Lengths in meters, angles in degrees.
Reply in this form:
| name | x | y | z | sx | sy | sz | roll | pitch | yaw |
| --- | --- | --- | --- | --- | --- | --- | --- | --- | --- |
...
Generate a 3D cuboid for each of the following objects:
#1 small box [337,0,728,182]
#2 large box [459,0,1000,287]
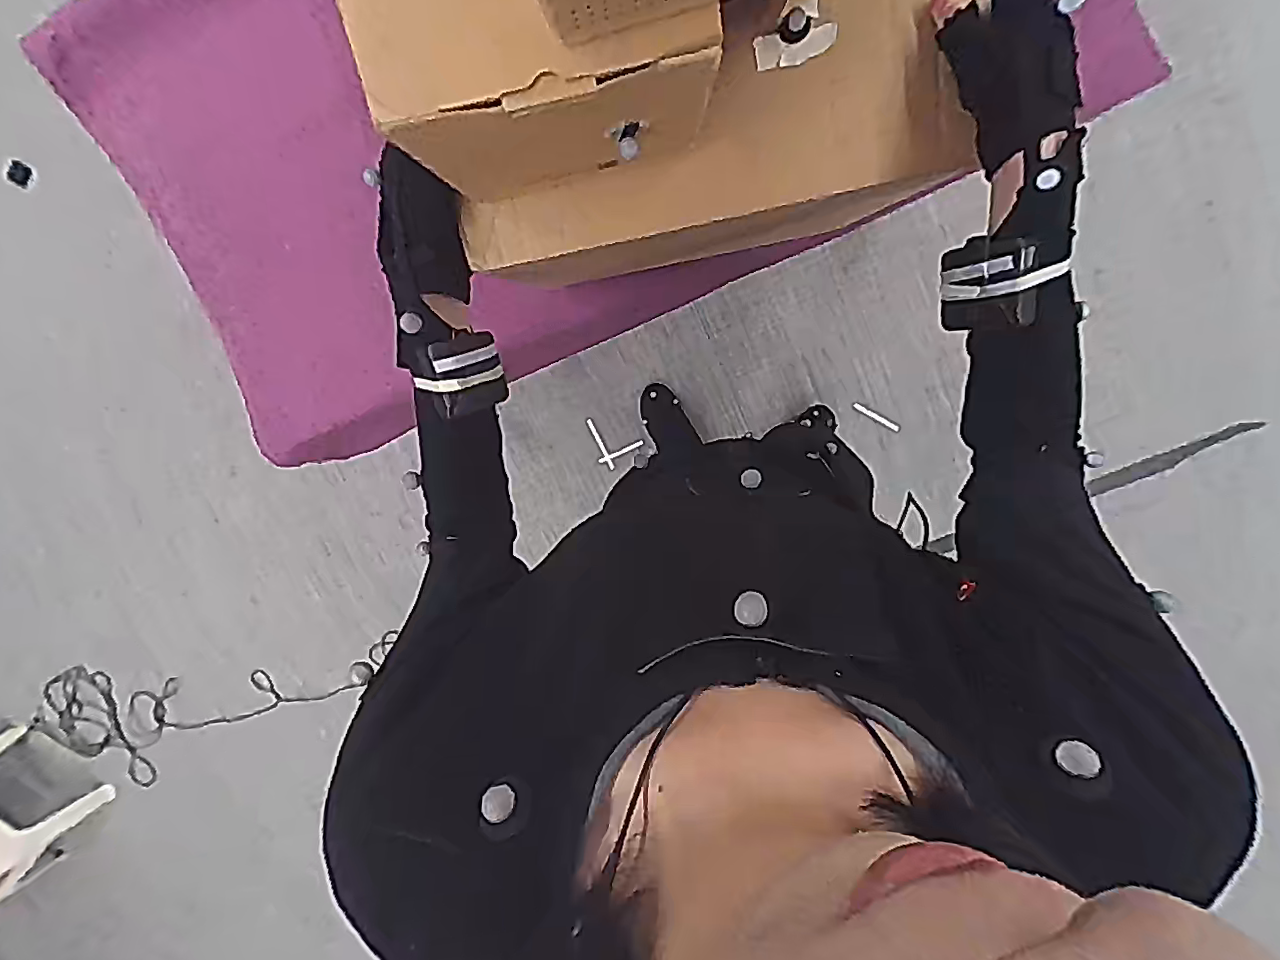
| name | x | y | z | sx | sy | sz | roll | pitch | yaw |
| --- | --- | --- | --- | --- | --- | --- | --- | --- | --- |
| small box | -0.056 | -0.279 | 0.289 | 0.168 | 0.176 | 0.179 | -11 | 106 | 2 |
| large box | 0.038 | -0.389 | 0.509 | 0.408 | 0.320 | 0.320 | -11 | 108 | 3 |
